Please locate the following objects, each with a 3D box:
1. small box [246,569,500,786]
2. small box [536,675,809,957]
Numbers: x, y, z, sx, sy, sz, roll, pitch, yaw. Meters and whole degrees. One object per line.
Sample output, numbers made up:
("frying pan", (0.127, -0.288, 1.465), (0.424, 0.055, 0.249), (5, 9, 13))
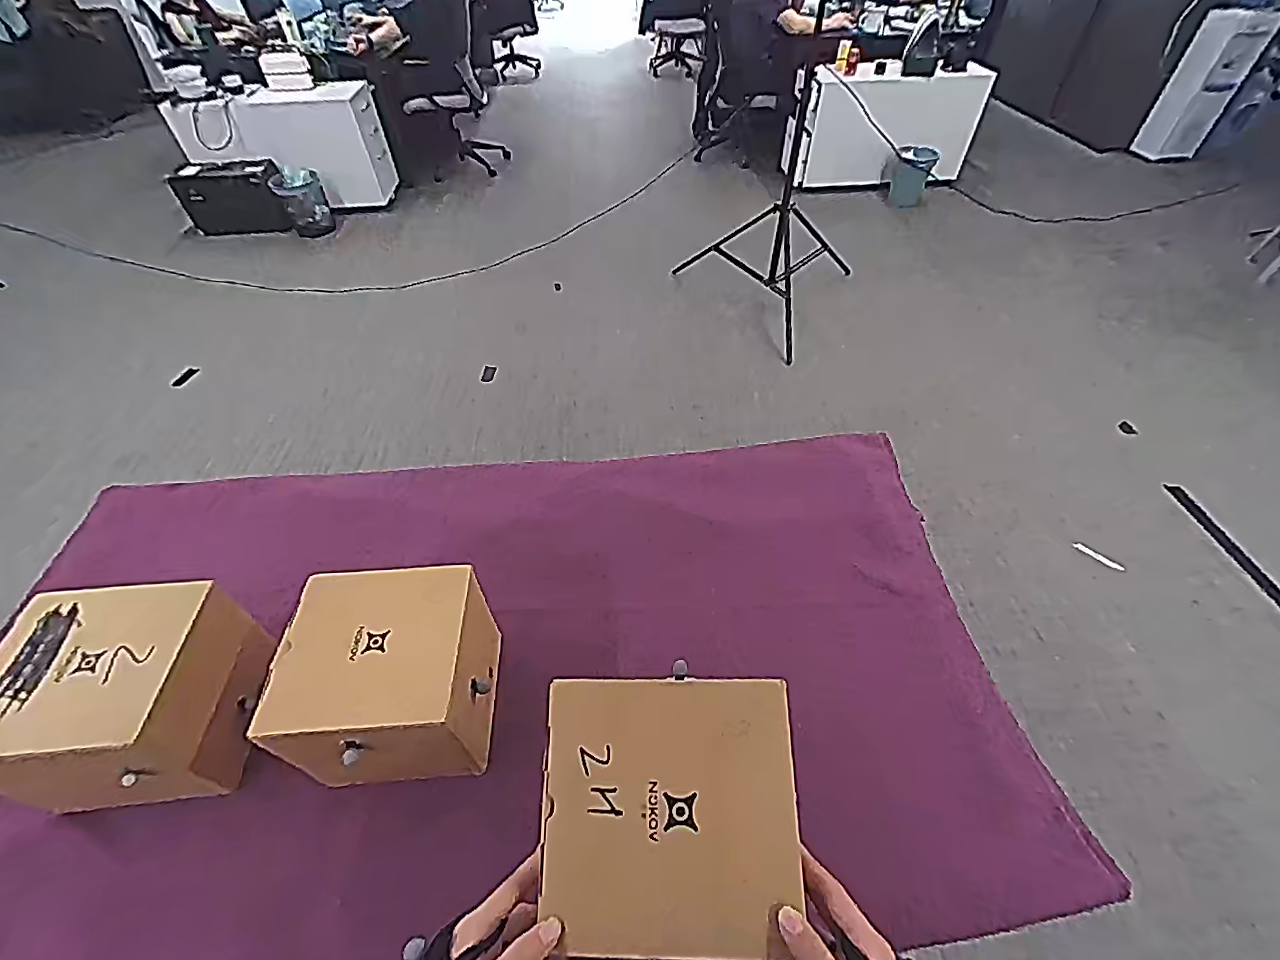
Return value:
("small box", (-0.258, 0.214, 0.581), (0.179, 0.176, 0.168), (-4, 47, -1))
("small box", (0.025, 0.249, 0.443), (0.179, 0.176, 0.168), (-2, 69, 4))
